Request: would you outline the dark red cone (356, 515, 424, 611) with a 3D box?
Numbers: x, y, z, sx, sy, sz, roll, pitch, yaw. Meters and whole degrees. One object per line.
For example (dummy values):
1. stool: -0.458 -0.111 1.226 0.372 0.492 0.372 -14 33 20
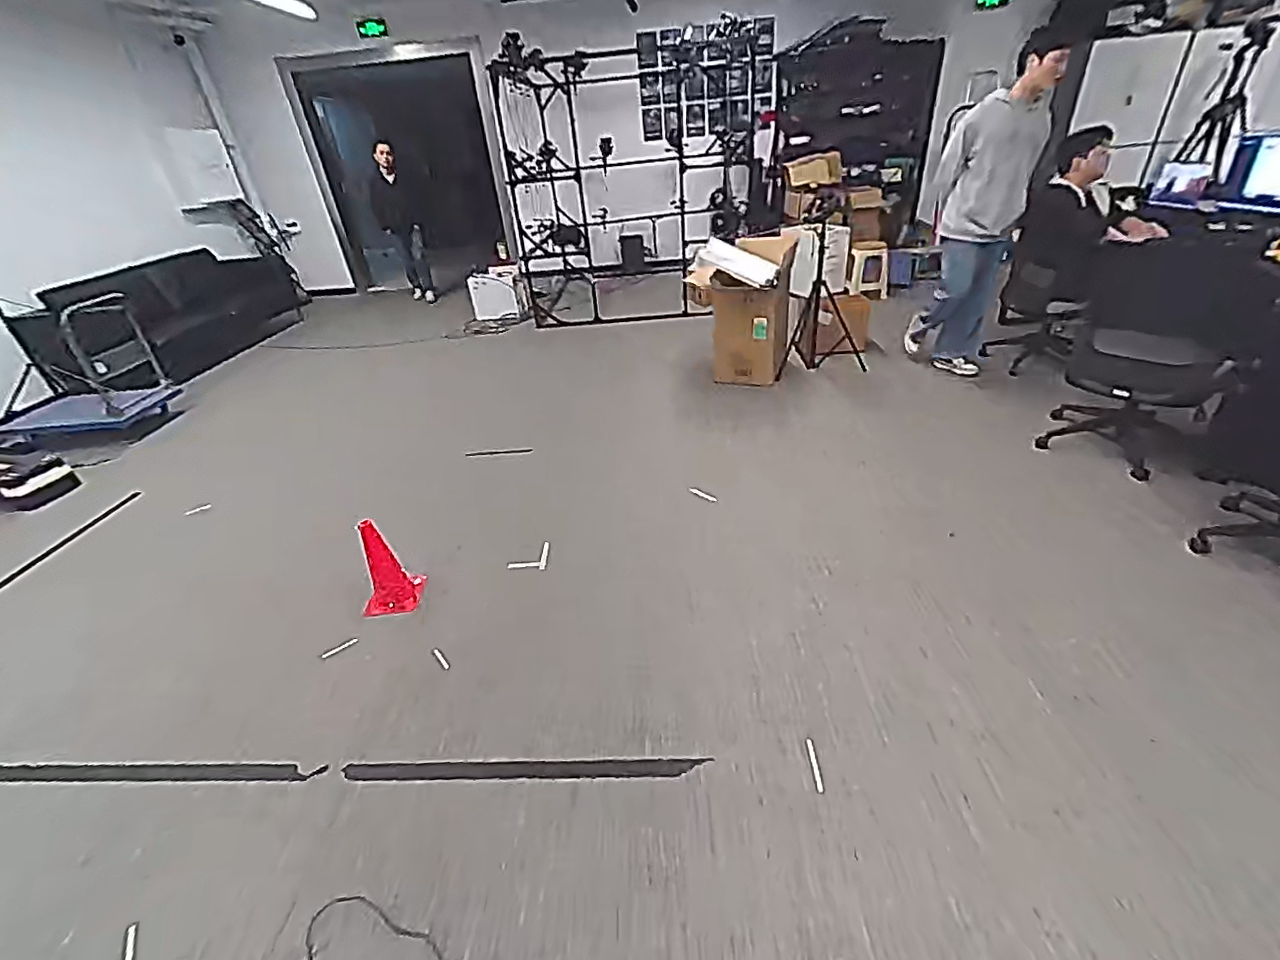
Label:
1. dark red cone: -0.970 0.295 2.013 0.202 0.394 0.201 -8 33 -2
